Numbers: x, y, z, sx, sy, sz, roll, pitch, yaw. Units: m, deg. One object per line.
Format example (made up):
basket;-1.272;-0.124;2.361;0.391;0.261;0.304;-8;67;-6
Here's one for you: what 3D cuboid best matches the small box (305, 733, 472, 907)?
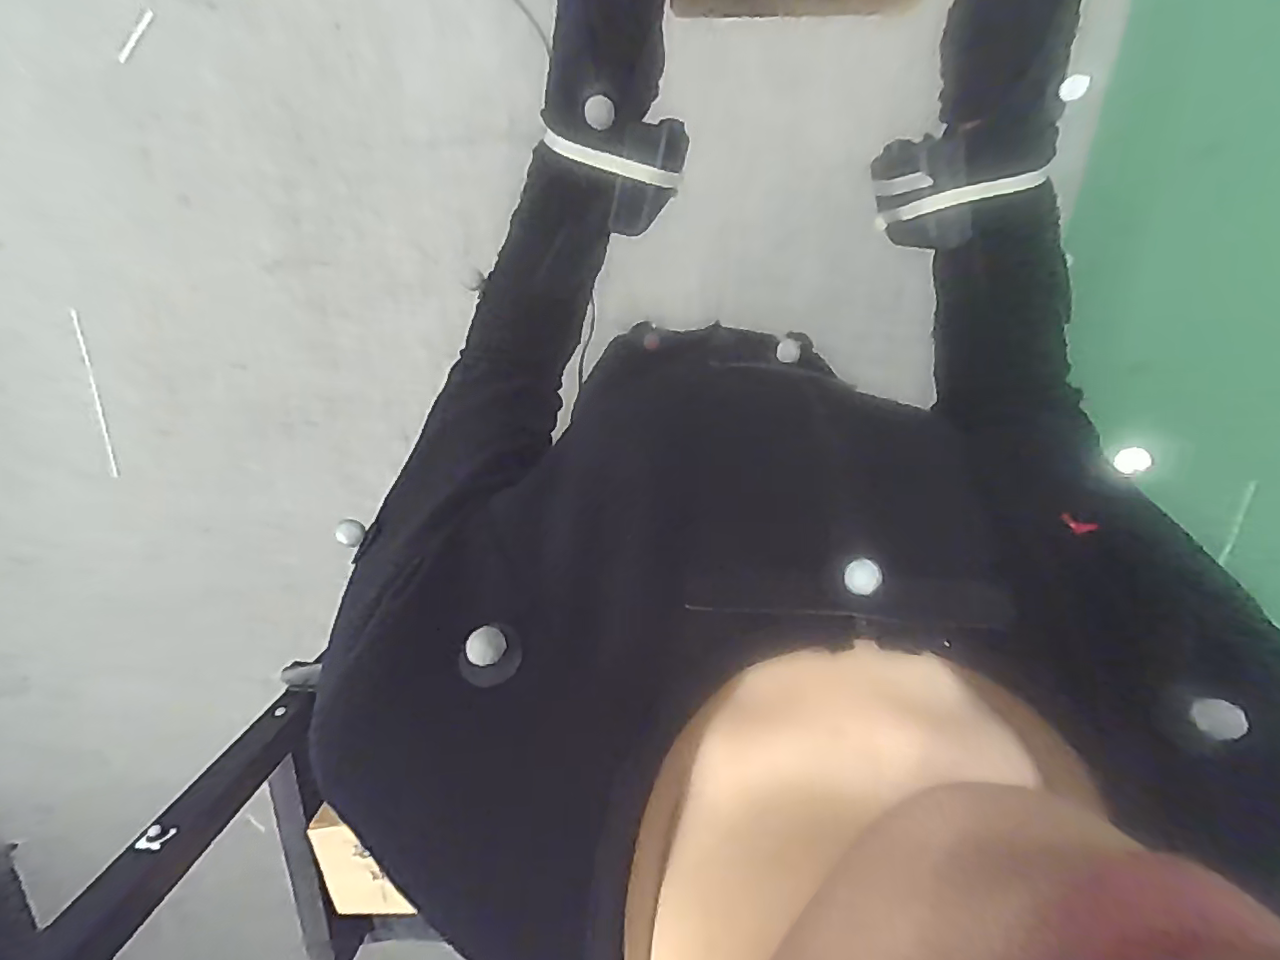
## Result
small box;-0.379;0.522;0.848;0.168;0.176;0.179;-2;108;4
